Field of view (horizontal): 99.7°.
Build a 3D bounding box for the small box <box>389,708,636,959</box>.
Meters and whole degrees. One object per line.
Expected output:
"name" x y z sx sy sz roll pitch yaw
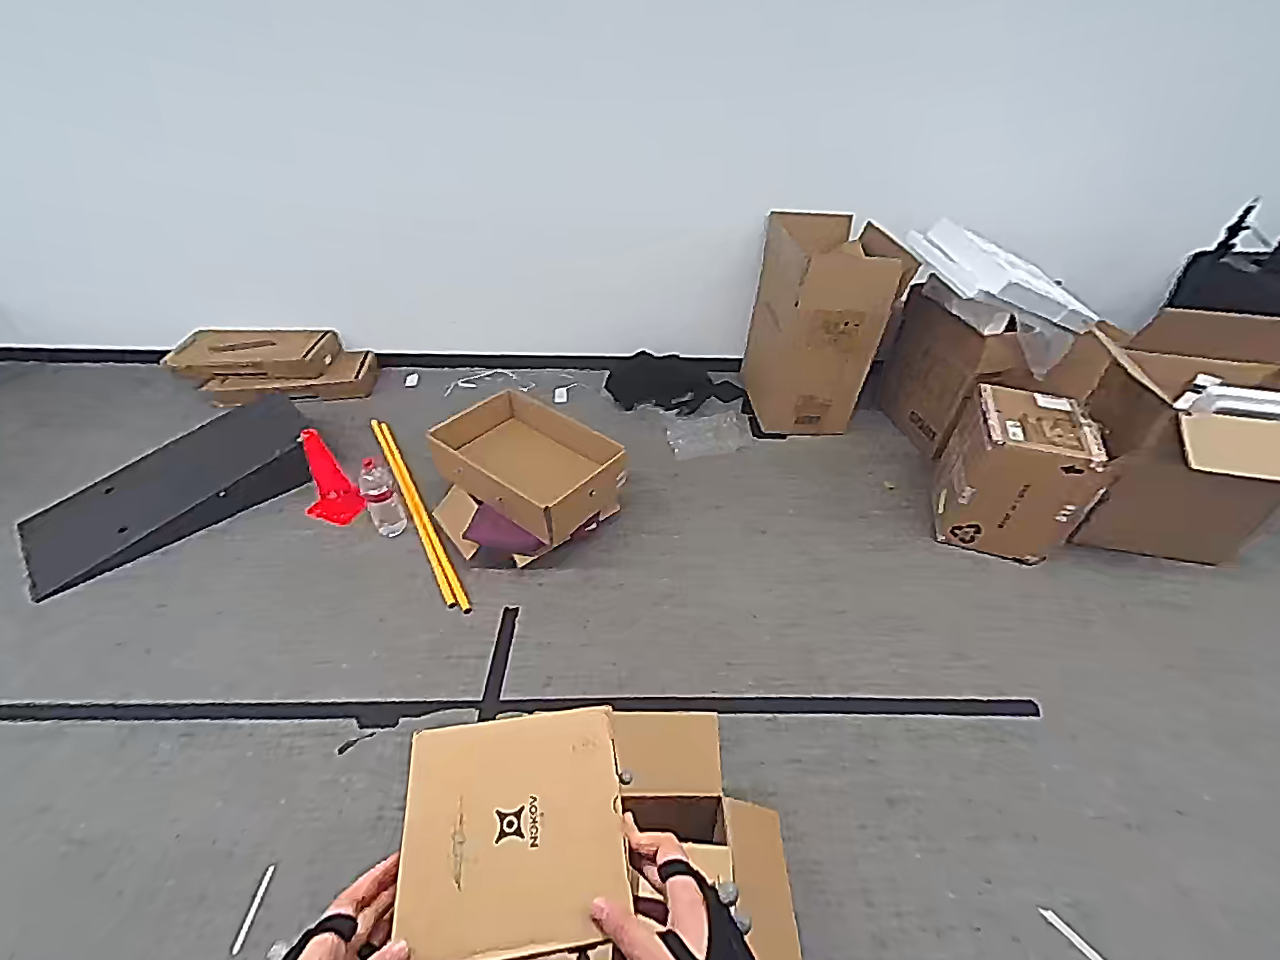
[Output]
"small box" -0.104 0.329 0.492 0.179 0.176 0.168 -7 48 -8
